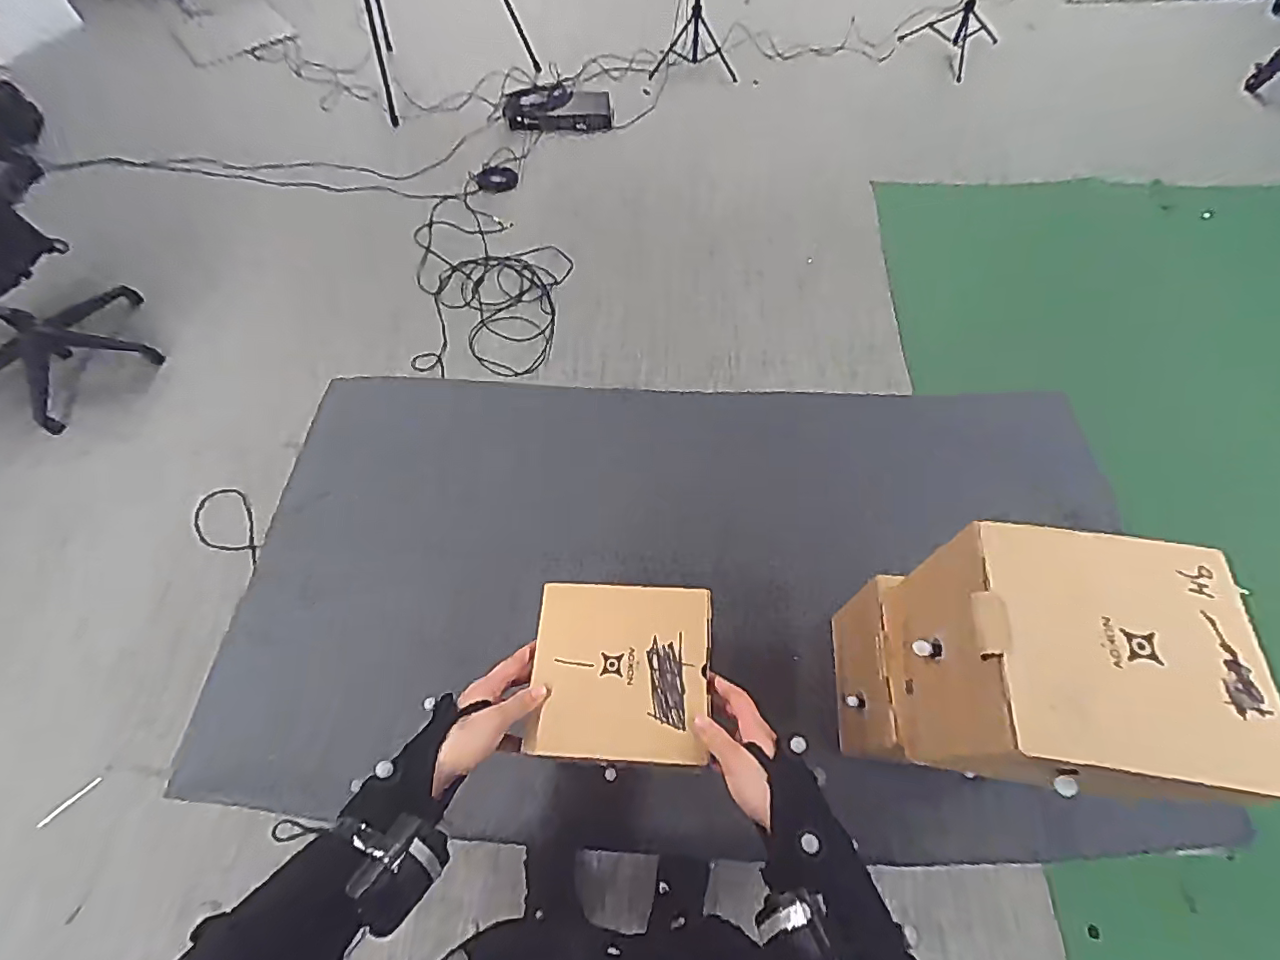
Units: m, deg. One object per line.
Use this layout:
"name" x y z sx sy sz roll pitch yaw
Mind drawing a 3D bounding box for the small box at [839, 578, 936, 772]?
"small box" 0.322 0.217 0.579 0.179 0.176 0.168 5 61 4

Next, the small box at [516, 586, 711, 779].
"small box" -0.017 0.225 0.586 0.179 0.176 0.168 1 59 5

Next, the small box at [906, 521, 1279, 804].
"small box" 0.328 0.150 0.428 0.179 0.176 0.168 7 61 7
